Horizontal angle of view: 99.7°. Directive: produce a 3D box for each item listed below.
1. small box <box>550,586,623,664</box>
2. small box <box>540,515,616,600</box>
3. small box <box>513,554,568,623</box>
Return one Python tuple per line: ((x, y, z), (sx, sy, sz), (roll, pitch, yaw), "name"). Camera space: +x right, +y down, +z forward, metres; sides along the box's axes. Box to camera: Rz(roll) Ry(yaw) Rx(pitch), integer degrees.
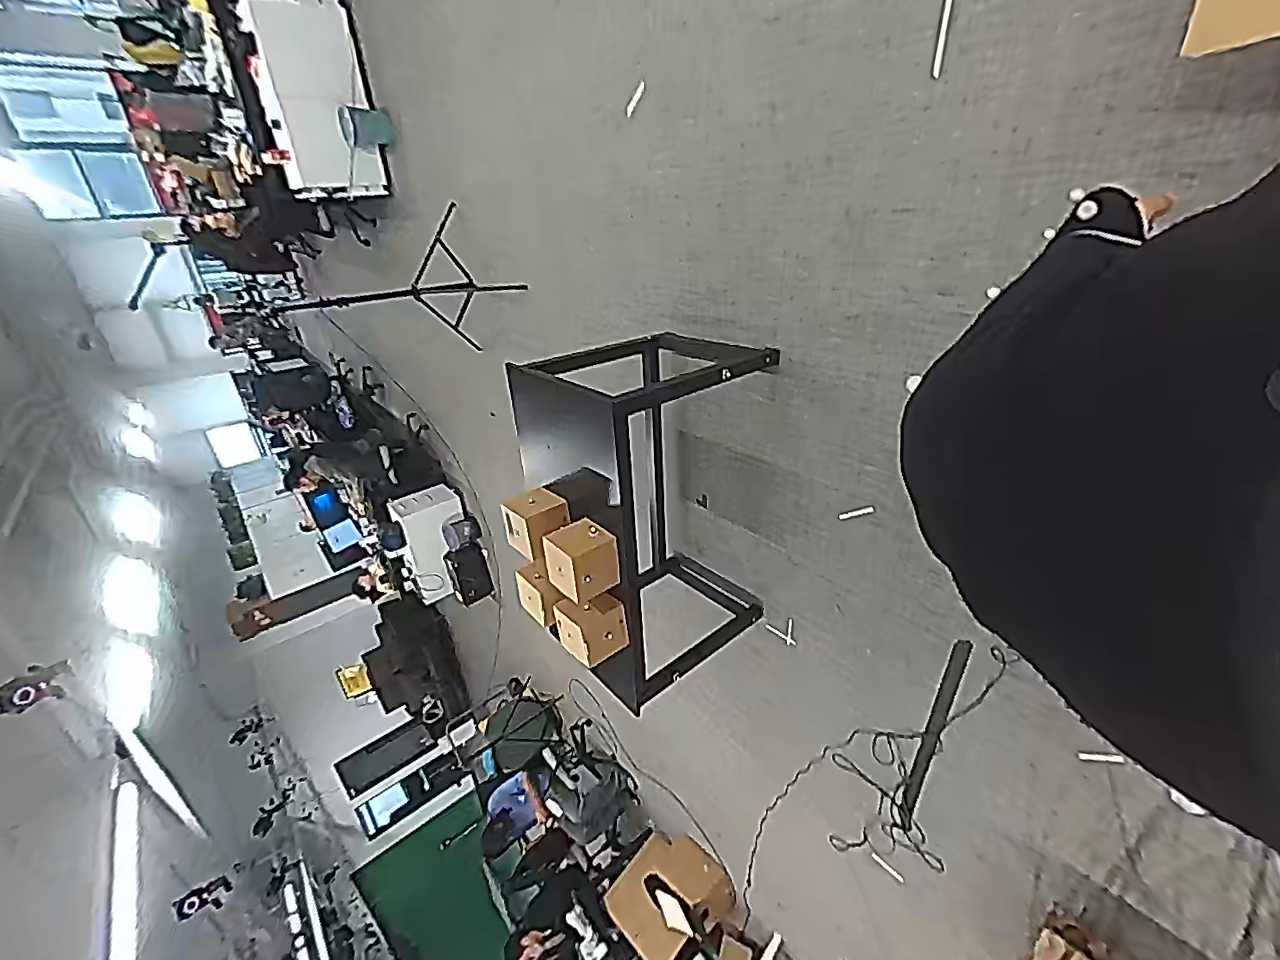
((-0.170, 0.467, 1.795), (0.179, 0.176, 0.168), (20, 125, 48), "small box")
((-0.188, 0.235, 1.684), (0.168, 0.176, 0.179), (25, 128, 44), "small box")
((-0.342, 0.387, 1.988), (0.179, 0.176, 0.168), (28, 130, 43), "small box")
